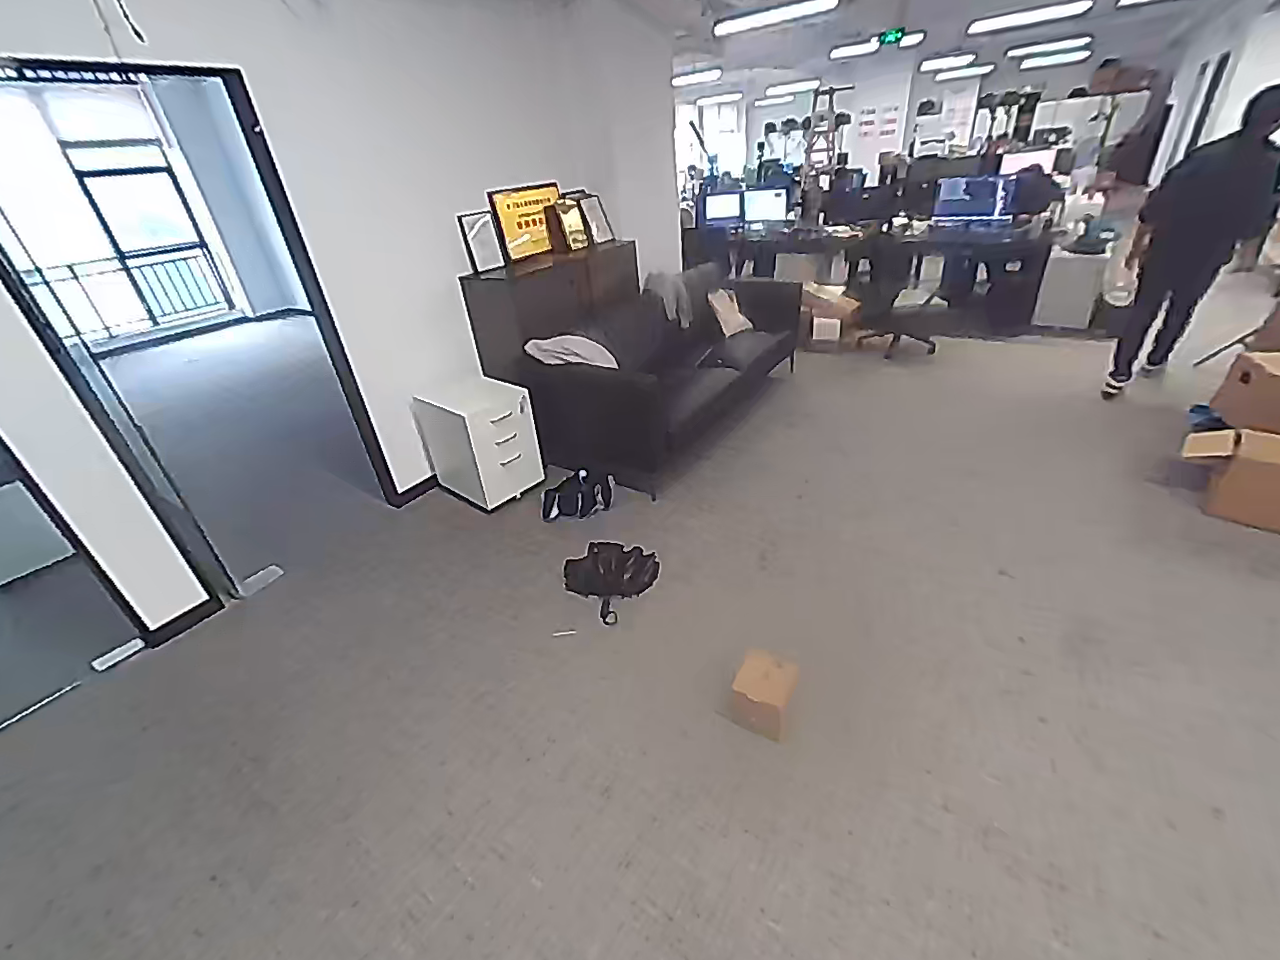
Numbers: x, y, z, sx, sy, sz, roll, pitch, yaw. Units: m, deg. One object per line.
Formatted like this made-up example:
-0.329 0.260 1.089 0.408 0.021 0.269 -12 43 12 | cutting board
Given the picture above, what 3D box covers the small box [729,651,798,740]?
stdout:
0.397 0.692 1.735 0.168 0.176 0.179 14 36 30 | small box
